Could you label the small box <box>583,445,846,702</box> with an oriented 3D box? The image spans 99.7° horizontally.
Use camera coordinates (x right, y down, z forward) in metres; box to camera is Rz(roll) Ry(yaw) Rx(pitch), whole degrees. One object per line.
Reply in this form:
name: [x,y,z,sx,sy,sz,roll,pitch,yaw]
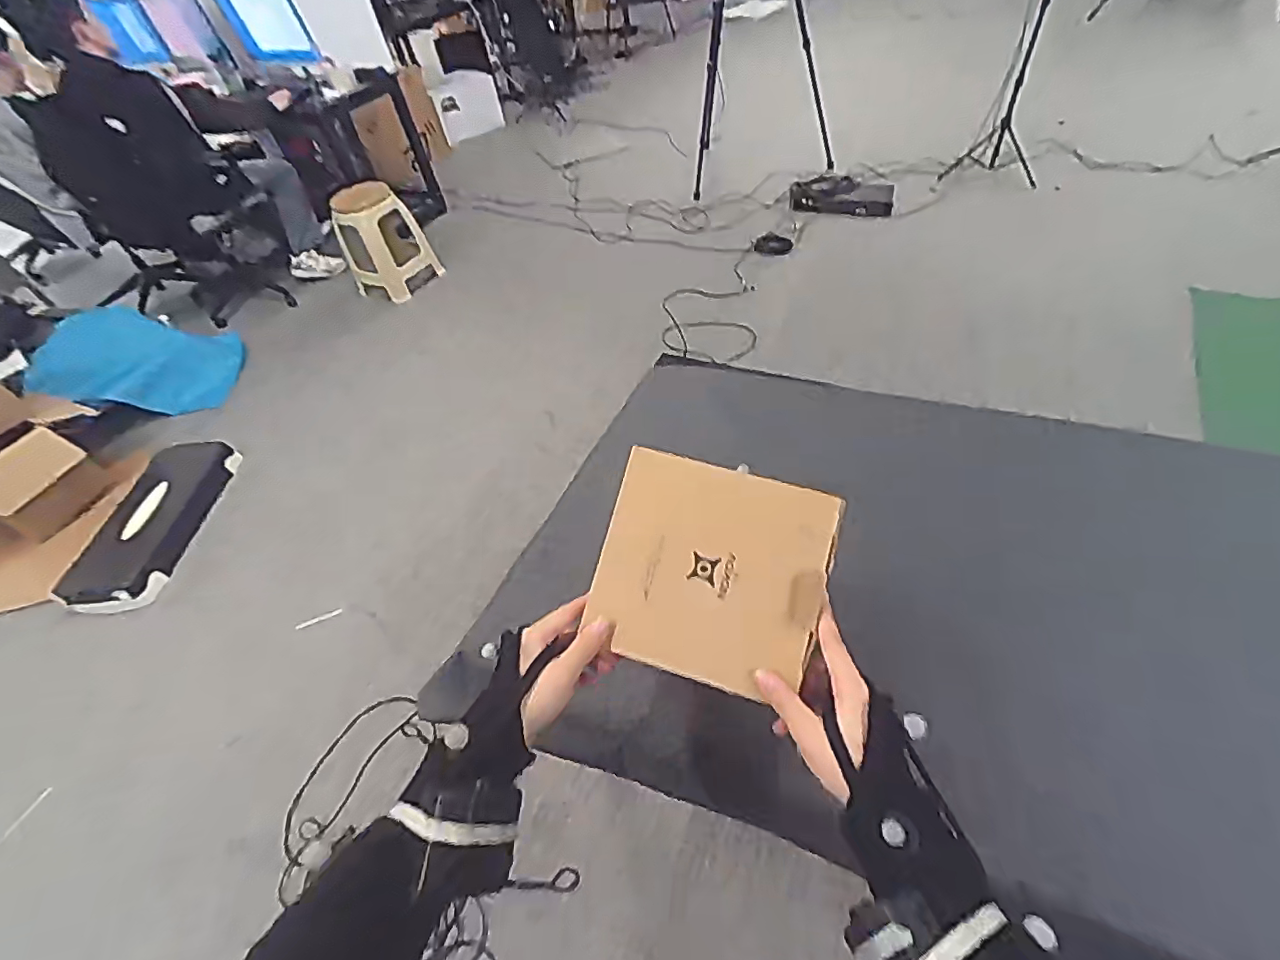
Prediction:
small box: [0.070,0.084,0.504,0.179,0.176,0.168,14,79,12]
